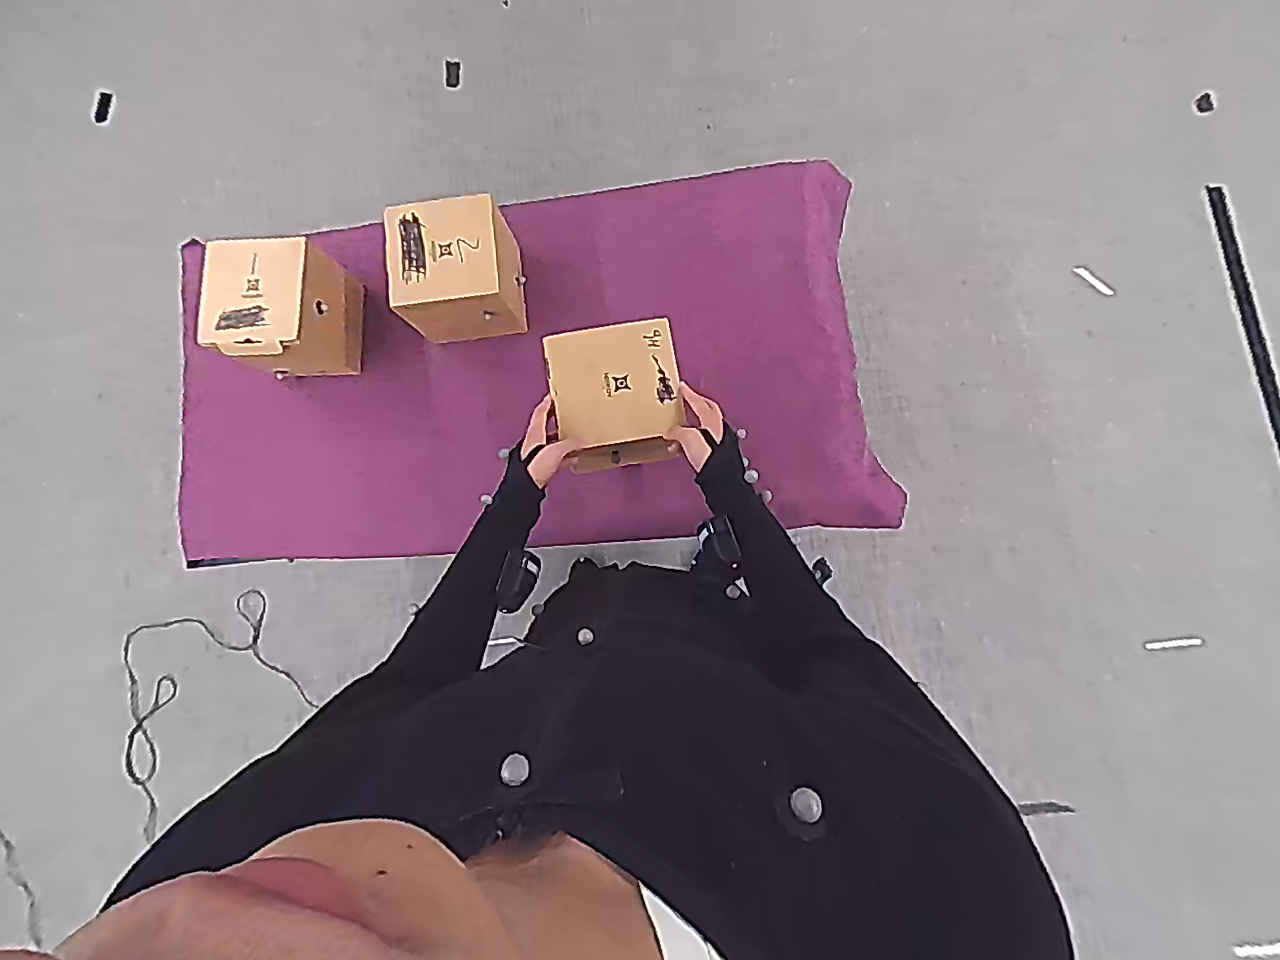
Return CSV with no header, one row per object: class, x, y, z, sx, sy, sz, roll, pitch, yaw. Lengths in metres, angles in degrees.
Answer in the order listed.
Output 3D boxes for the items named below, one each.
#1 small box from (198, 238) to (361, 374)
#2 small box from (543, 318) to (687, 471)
small box,-0.601,-0.284,0.922,0.168,0.176,0.179,-1,84,3
small box,-0.032,-0.115,0.795,0.179,0.176,0.168,-9,82,-1
